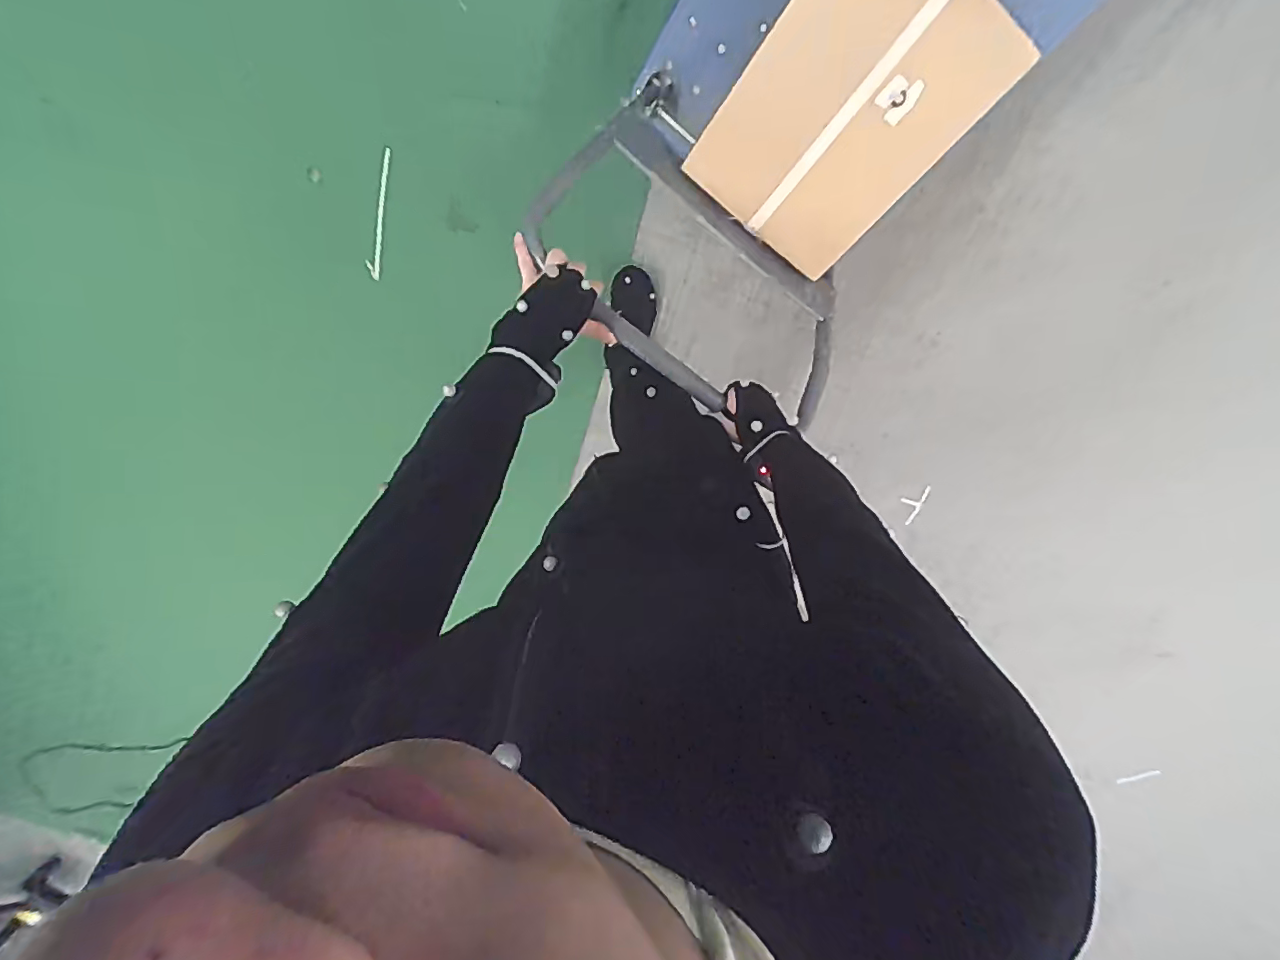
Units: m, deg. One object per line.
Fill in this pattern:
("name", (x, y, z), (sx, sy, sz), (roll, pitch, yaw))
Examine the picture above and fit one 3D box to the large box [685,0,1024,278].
("large box", (0.337, -0.651, 0.940), (0.320, 0.320, 0.408), (34, 133, -14))
